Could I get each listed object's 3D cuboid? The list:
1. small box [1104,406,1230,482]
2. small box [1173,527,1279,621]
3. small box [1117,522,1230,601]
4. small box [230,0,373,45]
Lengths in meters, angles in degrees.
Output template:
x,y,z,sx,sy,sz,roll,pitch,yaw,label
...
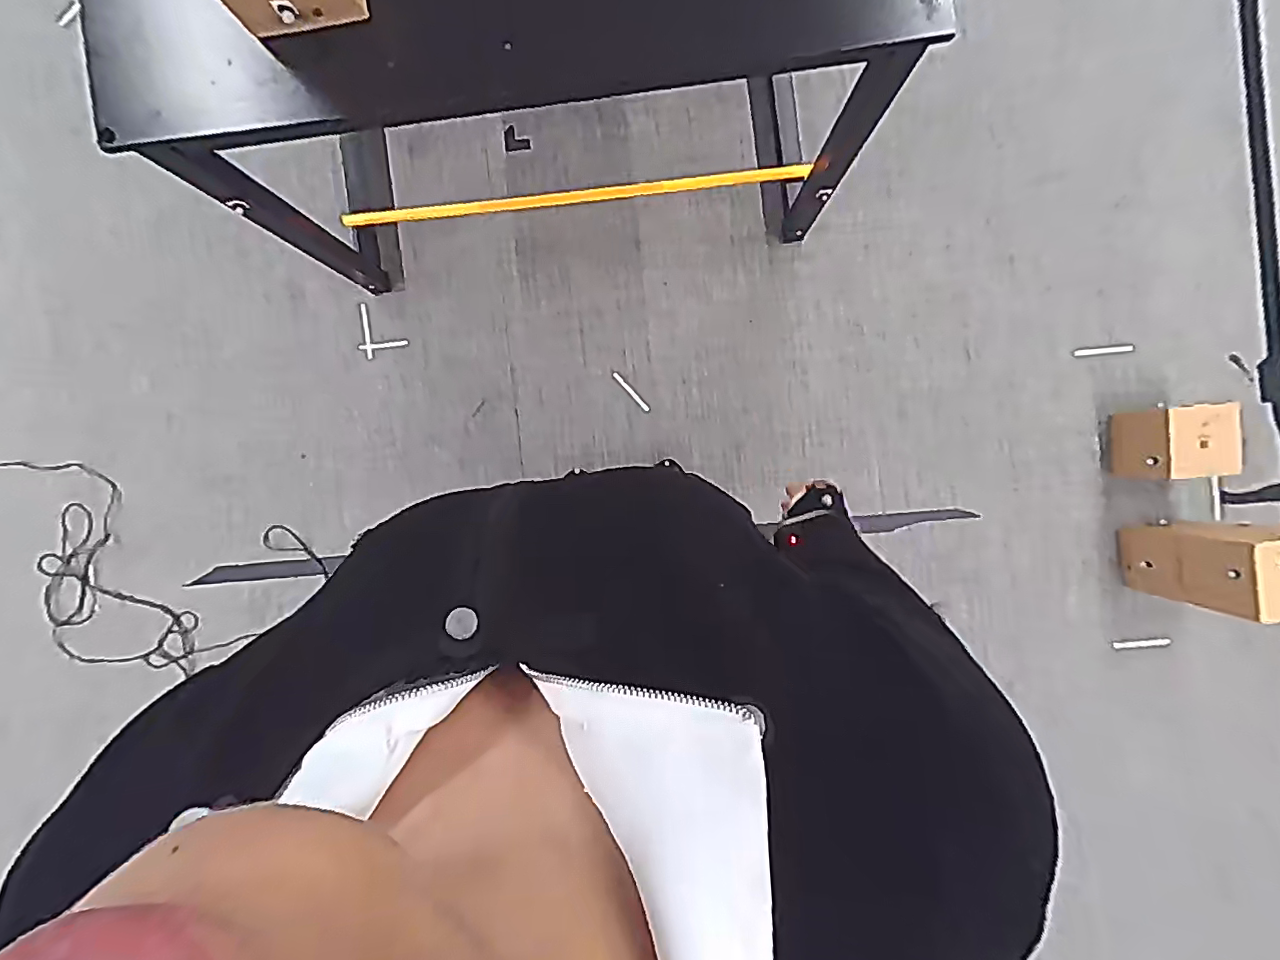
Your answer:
x,y,z,sx,sy,sz,roll,pitch,yaw,label
1.337,-0.091,1.382,0.168,0.176,0.179,-4,91,1,small box
1.371,0.204,1.227,0.168,0.176,0.179,-8,92,2,small box
1.380,0.205,1.393,0.179,0.176,0.168,-8,92,2,small box
-0.470,-0.712,0.685,0.168,0.176,0.179,-10,92,3,small box
